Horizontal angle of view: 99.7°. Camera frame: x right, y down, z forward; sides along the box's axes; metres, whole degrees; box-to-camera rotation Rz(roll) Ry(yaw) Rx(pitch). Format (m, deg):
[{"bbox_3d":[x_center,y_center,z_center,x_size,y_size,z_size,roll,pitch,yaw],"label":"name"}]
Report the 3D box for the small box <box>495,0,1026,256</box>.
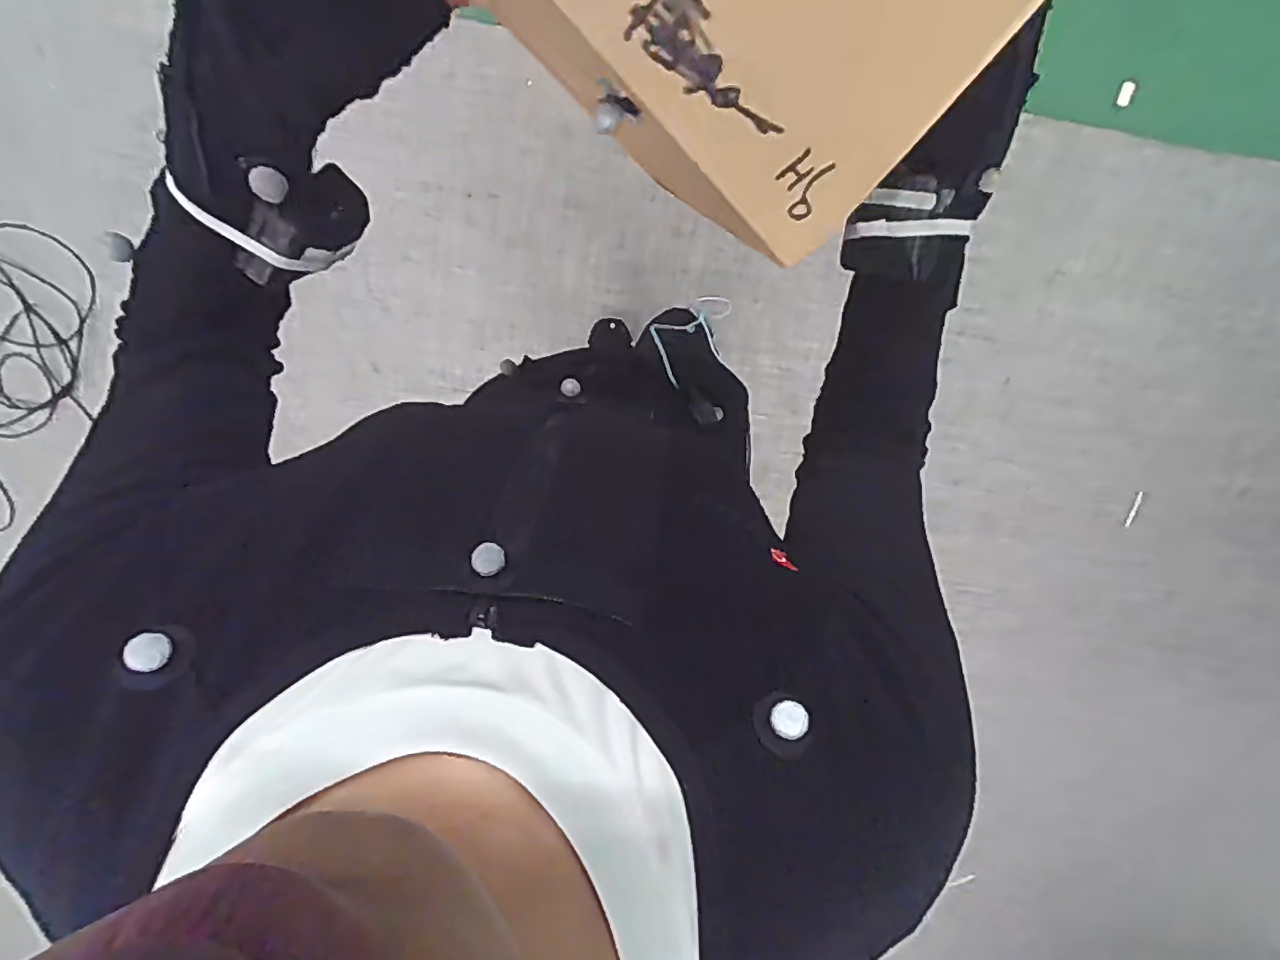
[{"bbox_3d":[0.044,-0.243,0.235,0.168,0.176,0.179,29,114,-37],"label":"small box"}]
